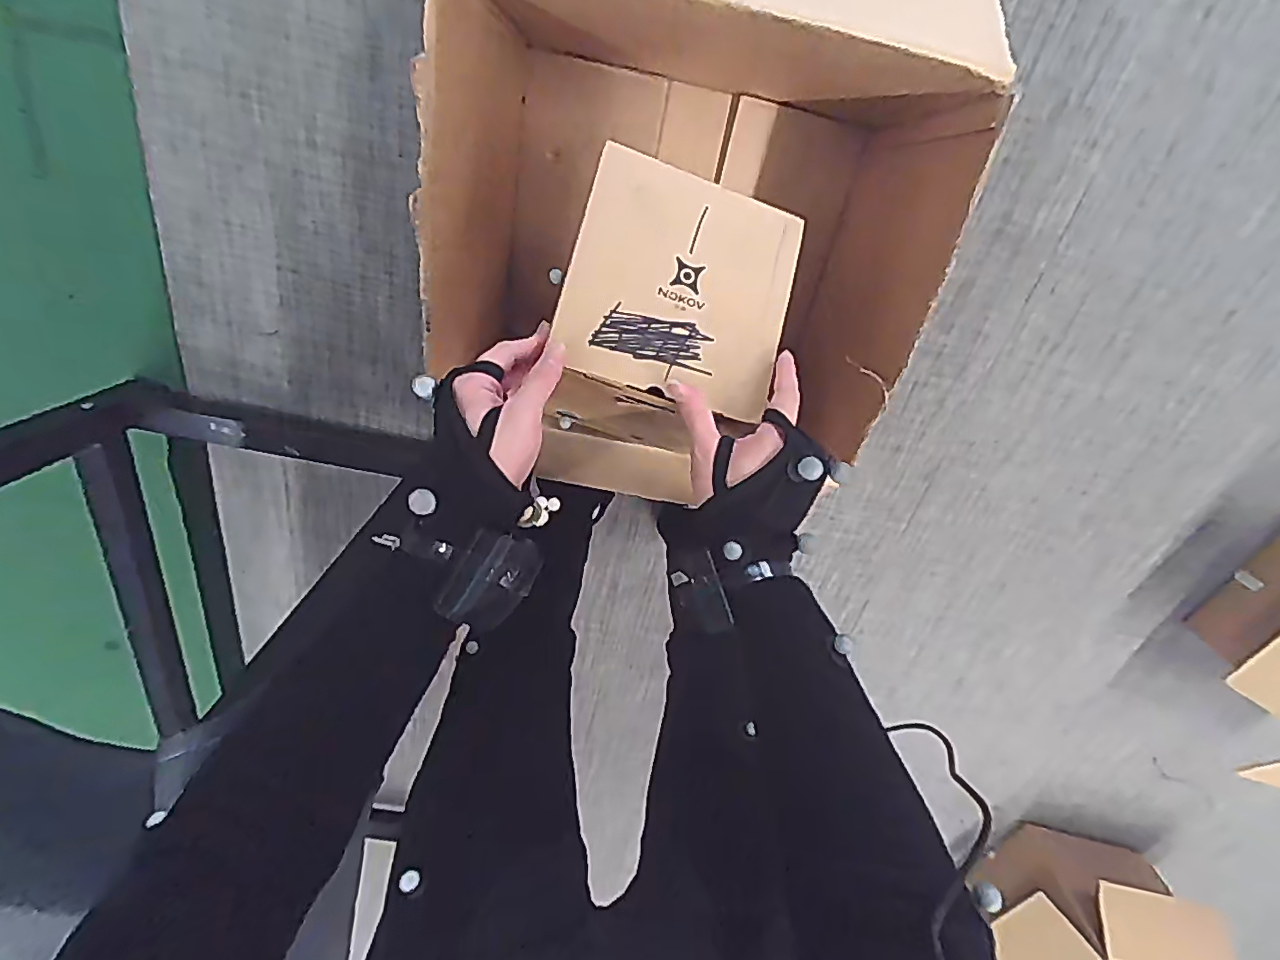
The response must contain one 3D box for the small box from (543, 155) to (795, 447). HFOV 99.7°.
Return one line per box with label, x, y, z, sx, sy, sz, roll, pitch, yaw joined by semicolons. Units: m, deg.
small box;0.013;-0.139;0.496;0.168;0.176;0.179;17;81;-12
